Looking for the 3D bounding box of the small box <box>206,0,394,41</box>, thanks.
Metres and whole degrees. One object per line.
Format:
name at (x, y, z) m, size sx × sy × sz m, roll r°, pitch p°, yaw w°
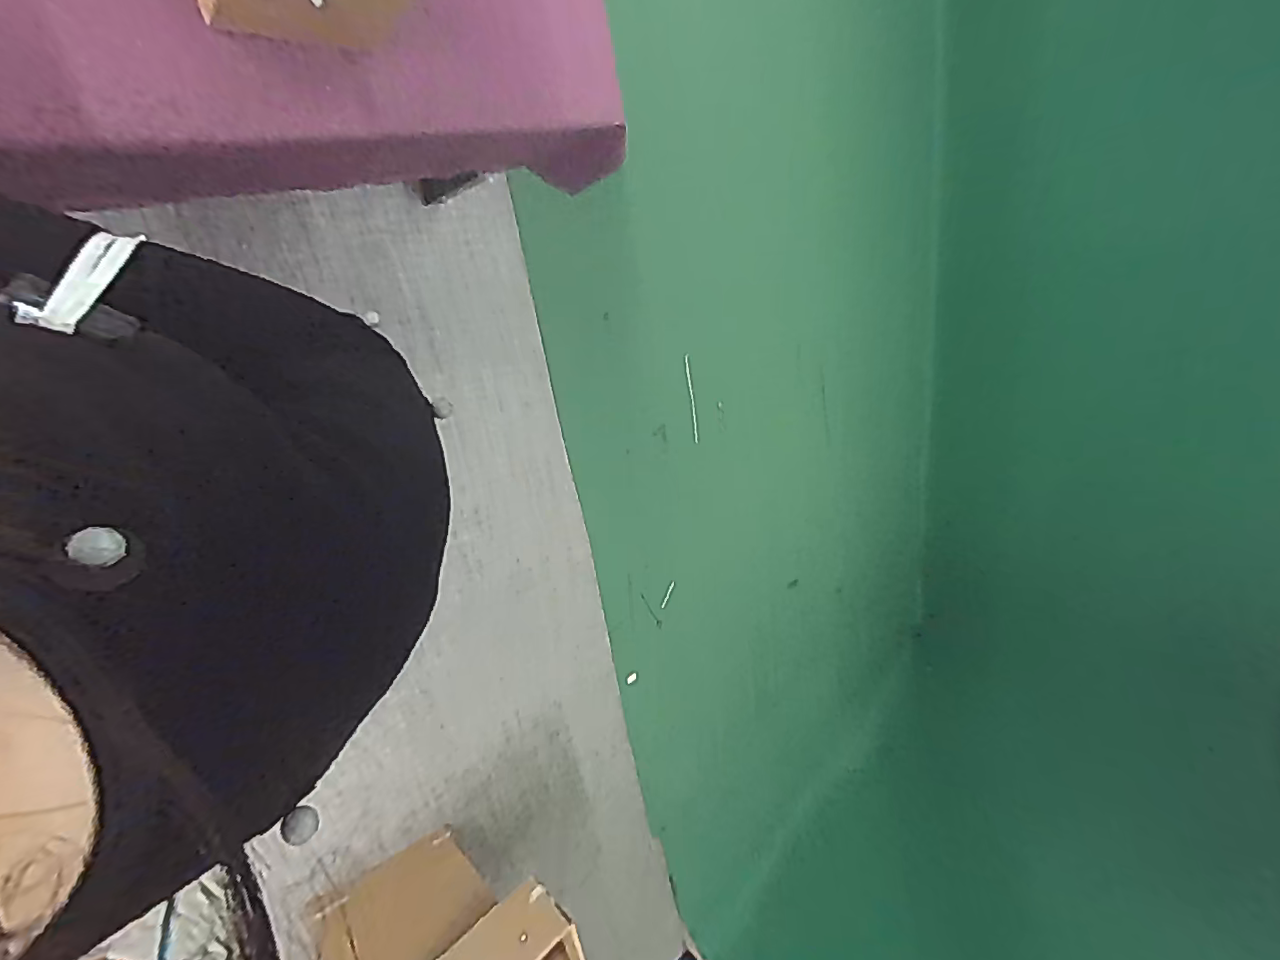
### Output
small box at (-0.349, -0.575, 0.534) m, size 0.179 × 0.176 × 0.168 m, roll -23°, pitch 115°, yaw -37°
